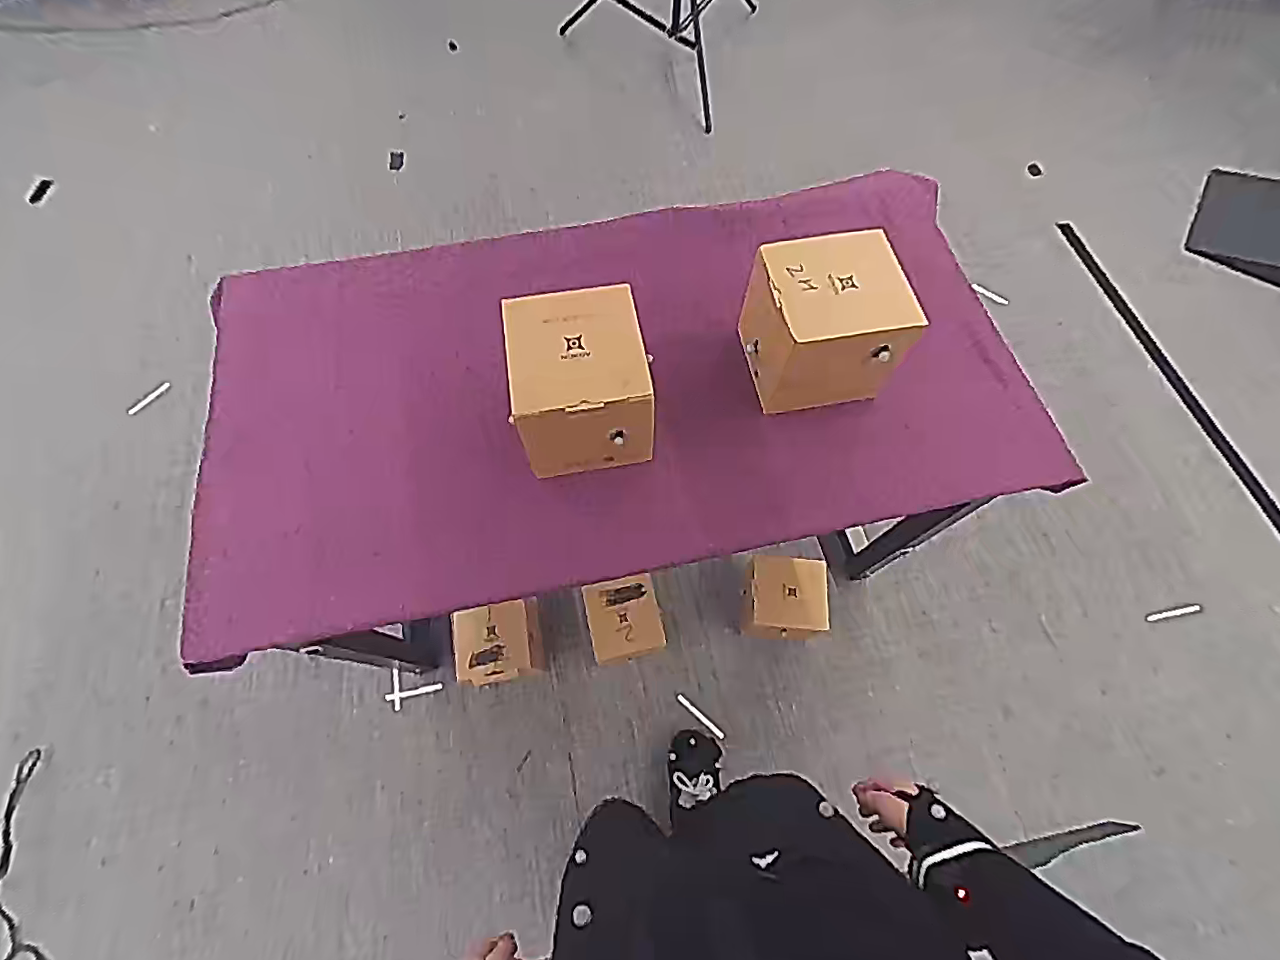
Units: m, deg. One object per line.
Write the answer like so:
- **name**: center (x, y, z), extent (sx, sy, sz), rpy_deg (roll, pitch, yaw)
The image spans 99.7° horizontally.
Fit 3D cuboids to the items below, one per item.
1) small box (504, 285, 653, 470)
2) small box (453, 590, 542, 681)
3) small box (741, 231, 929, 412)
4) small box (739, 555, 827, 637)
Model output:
- **small box**: center (-0.077, -0.125, 0.720), extent (0.168, 0.176, 0.179), rpy_deg (-9, 65, -6)
- **small box**: center (-0.336, 0.378, 1.293), extent (0.168, 0.176, 0.179), rpy_deg (-10, 66, -5)
- **small box**: center (0.257, -0.215, 0.760), extent (0.179, 0.176, 0.168), rpy_deg (-9, 66, -4)
- **small box**: center (0.349, 0.292, 1.338), extent (0.179, 0.176, 0.168), rpy_deg (4, 67, 2)
